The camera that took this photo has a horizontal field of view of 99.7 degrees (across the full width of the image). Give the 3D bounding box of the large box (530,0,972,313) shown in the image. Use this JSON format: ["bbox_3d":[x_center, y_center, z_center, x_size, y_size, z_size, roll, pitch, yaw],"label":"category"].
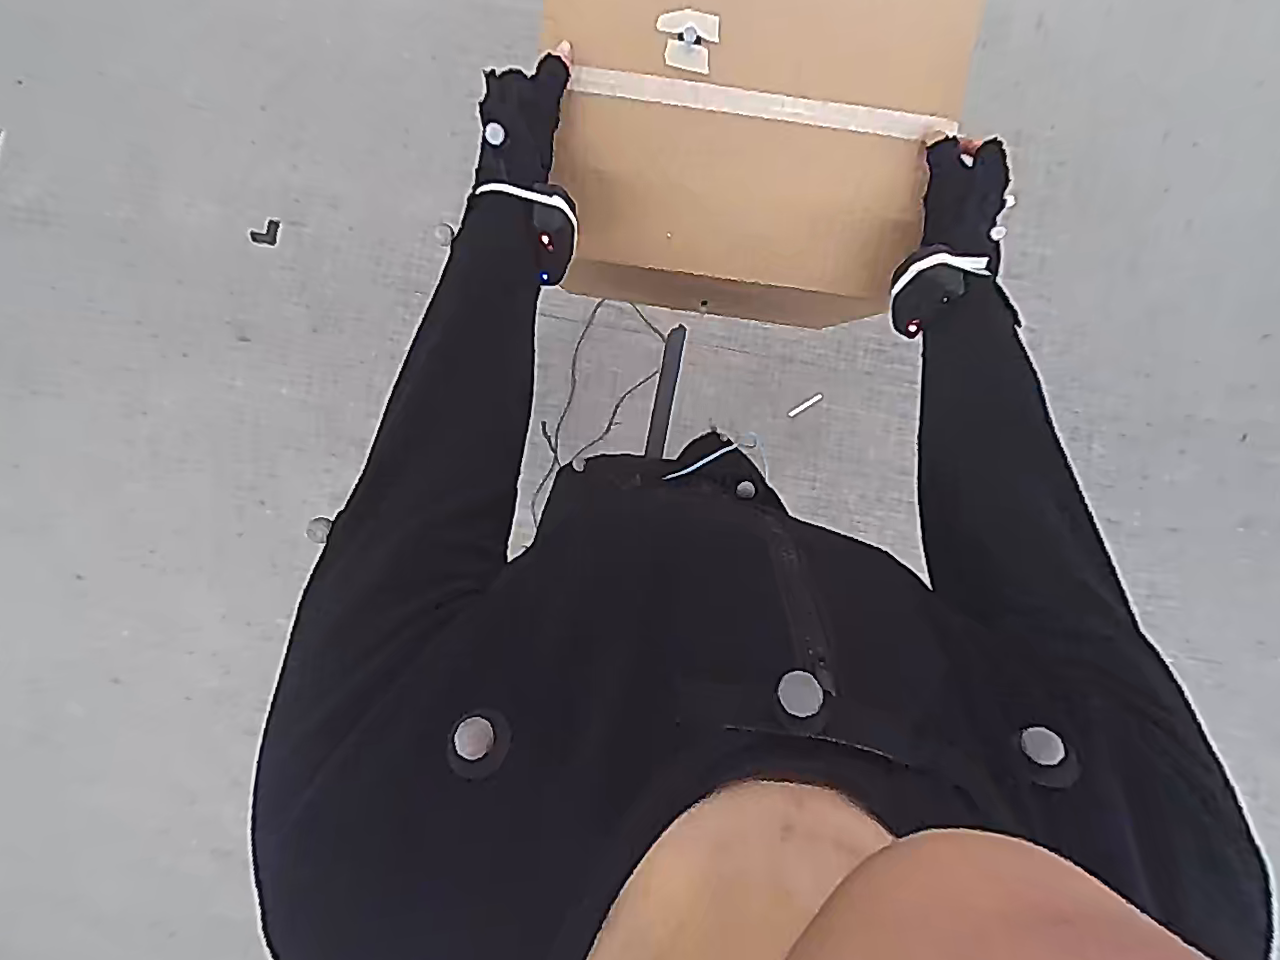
[{"bbox_3d":[0.104,-0.398,0.671,0.408,0.320,0.320,8,101,-1],"label":"large box"}]
